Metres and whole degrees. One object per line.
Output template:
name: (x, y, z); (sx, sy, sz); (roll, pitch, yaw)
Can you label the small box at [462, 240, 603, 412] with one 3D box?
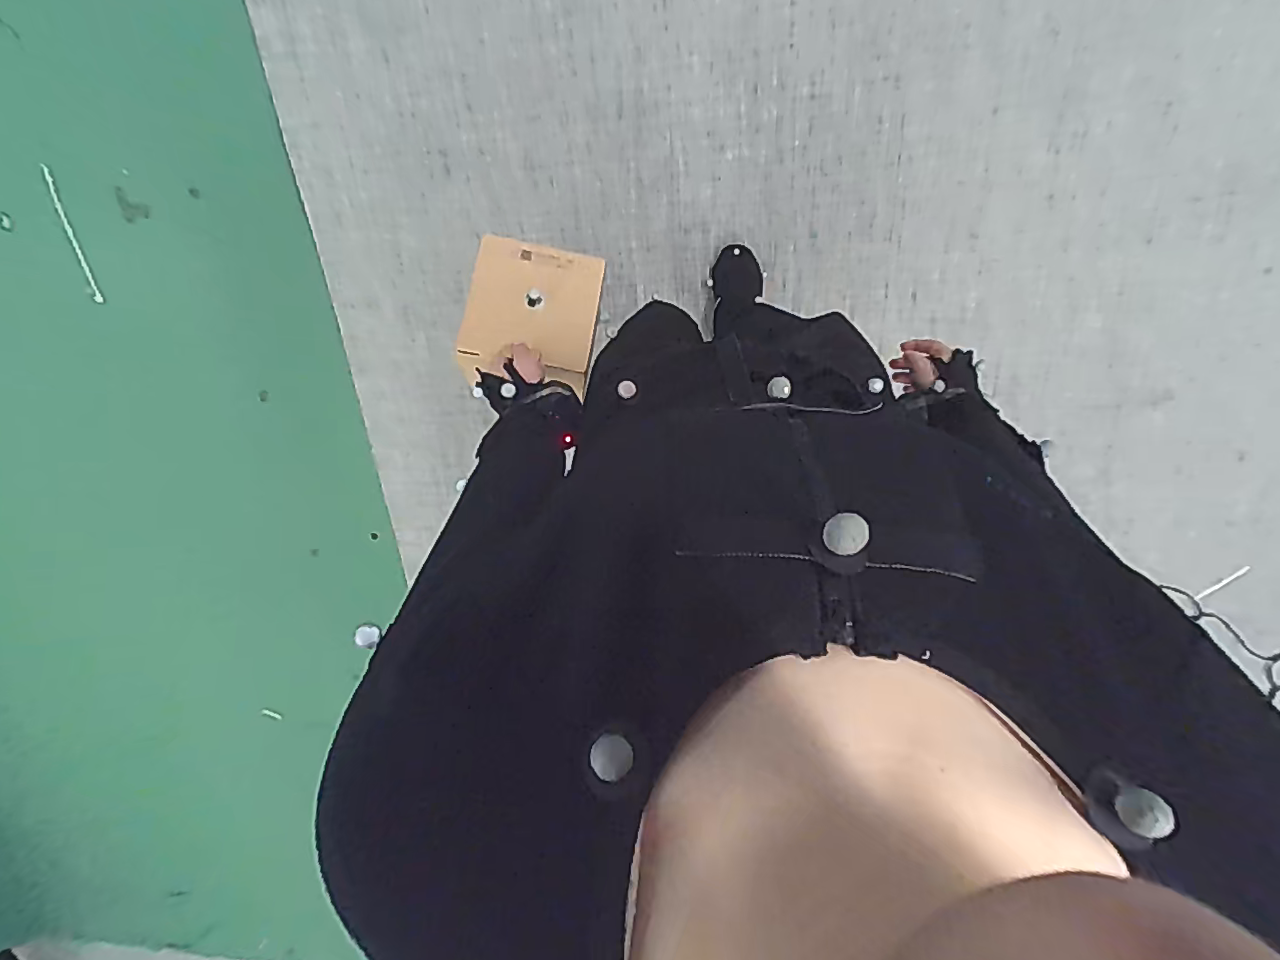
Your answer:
small box: (-0.147, -0.213, 0.777); (0.168, 0.179, 0.176); (8, 79, -7)
